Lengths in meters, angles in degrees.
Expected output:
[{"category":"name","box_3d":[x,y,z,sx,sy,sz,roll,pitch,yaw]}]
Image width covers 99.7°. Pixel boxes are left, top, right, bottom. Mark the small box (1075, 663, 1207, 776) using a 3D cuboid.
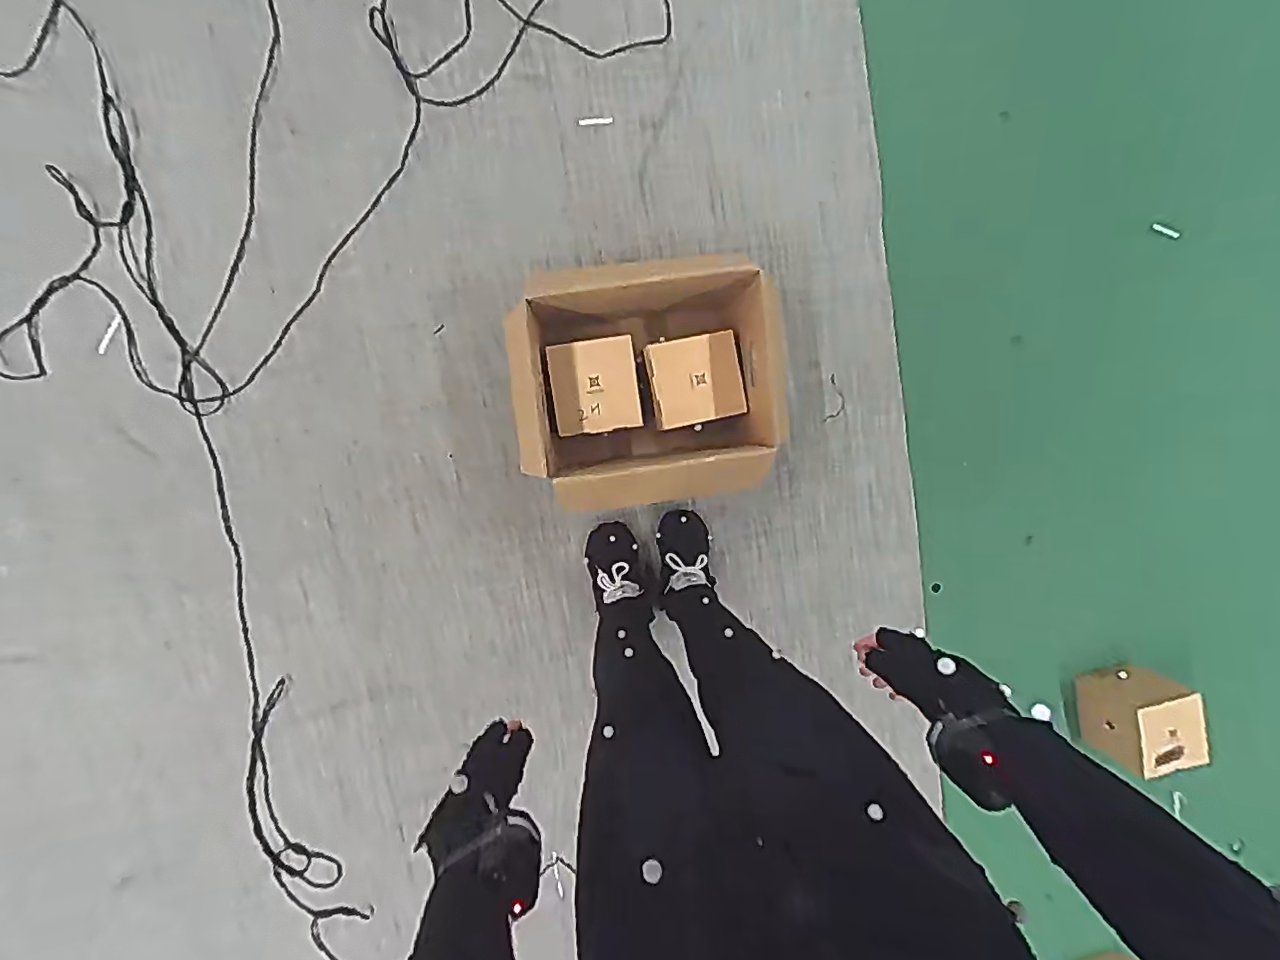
[{"category":"small box","box_3d":[1.216,0.577,1.322,0.168,0.176,0.179,-12,96,-4]}]
